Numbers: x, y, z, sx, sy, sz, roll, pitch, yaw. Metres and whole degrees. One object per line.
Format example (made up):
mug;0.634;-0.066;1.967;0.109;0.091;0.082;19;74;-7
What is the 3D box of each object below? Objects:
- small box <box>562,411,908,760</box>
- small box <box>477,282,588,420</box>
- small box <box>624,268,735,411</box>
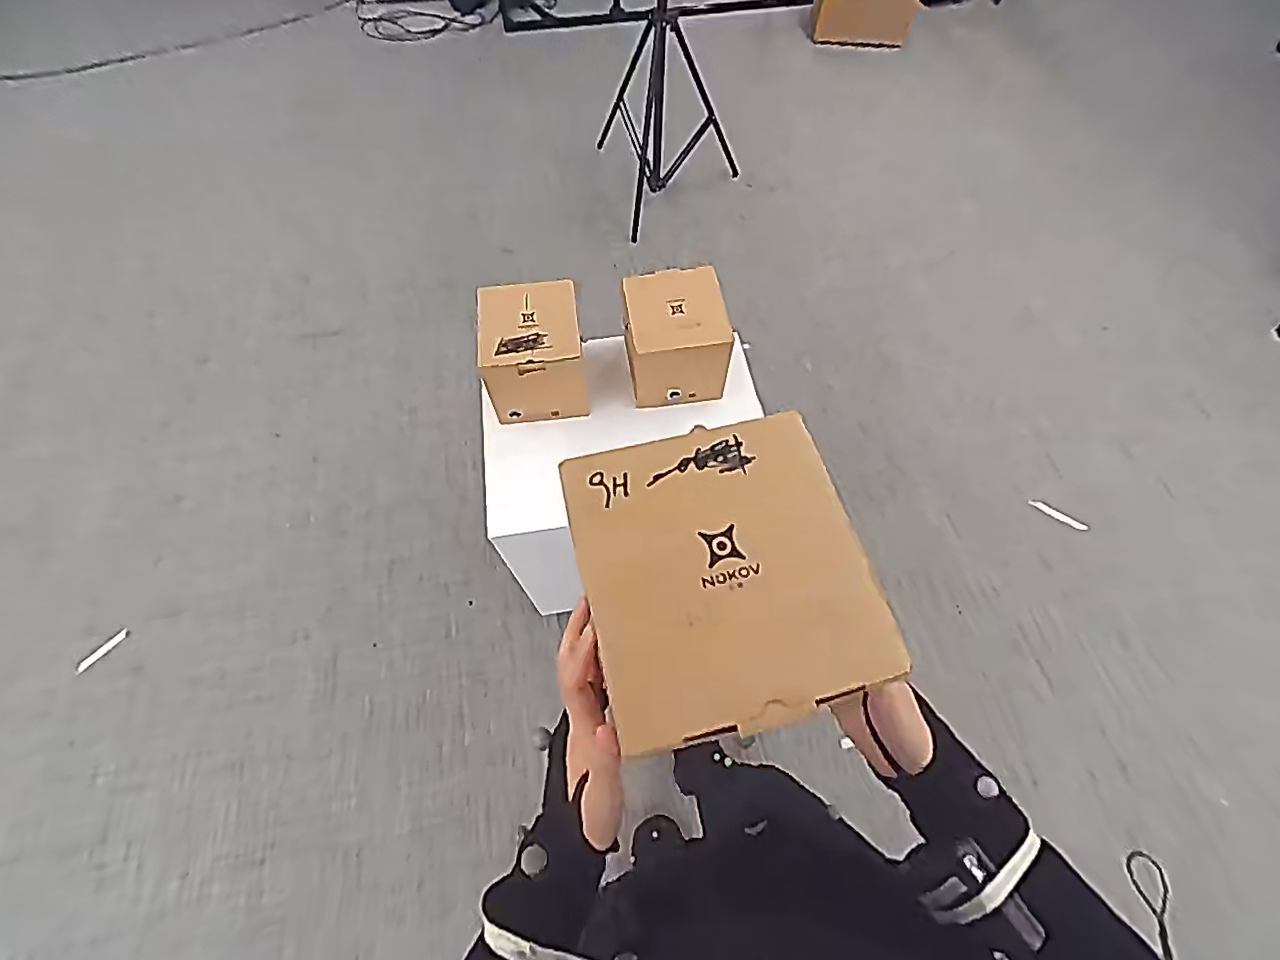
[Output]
small box;0.045;0.078;0.390;0.168;0.176;0.179;-12;69;-10
small box;-0.186;-0.220;0.960;0.168;0.176;0.179;-7;63;-4
small box;0.062;-0.250;0.980;0.168;0.176;0.179;-9;65;-3
